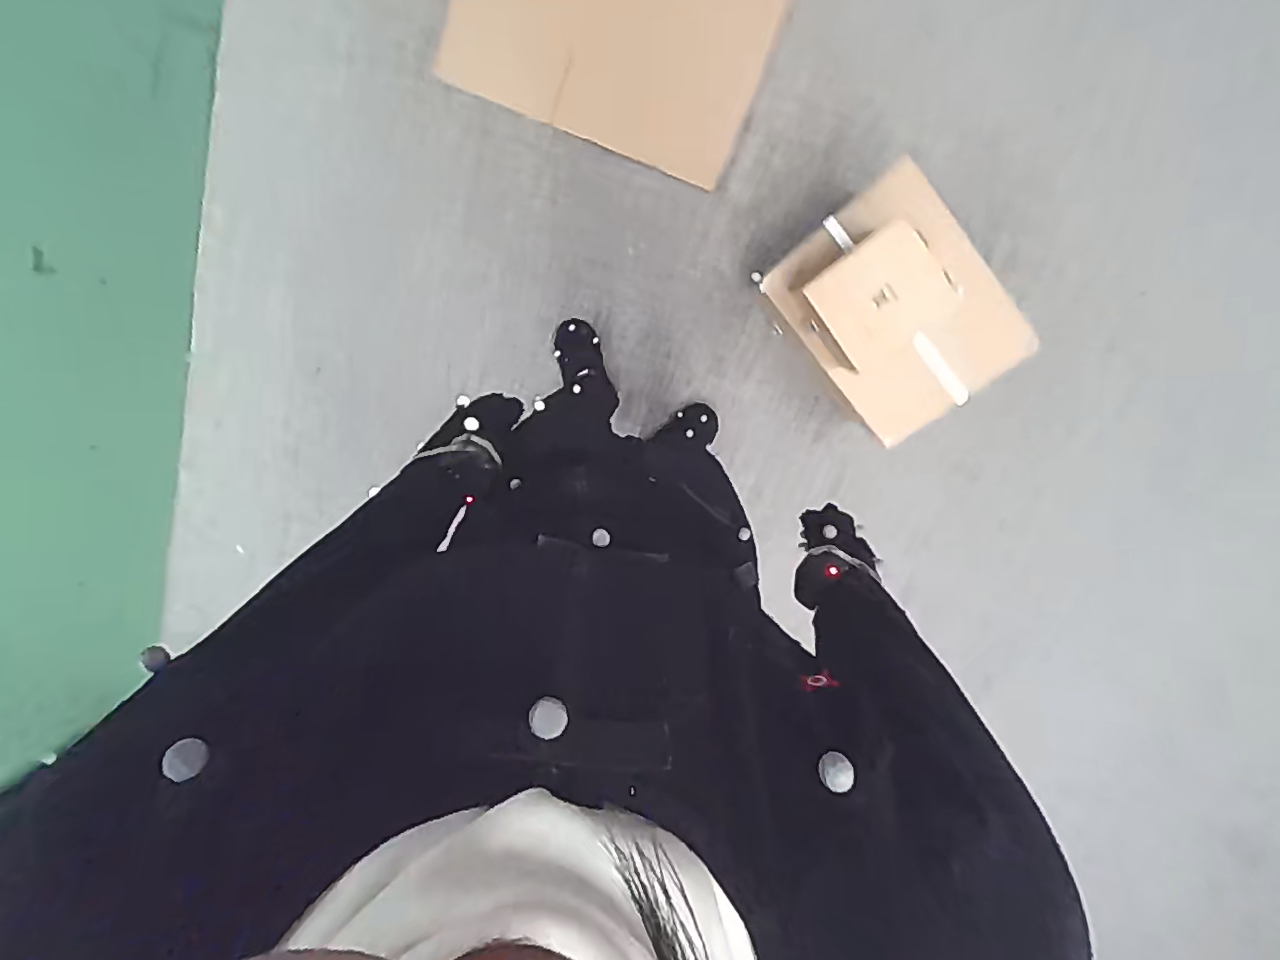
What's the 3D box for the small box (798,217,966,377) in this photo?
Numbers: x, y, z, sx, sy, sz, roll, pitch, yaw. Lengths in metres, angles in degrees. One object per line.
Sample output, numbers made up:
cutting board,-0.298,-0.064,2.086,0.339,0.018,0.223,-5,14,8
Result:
small box,0.381,-0.293,0.887,0.179,0.176,0.168,-36,96,18
